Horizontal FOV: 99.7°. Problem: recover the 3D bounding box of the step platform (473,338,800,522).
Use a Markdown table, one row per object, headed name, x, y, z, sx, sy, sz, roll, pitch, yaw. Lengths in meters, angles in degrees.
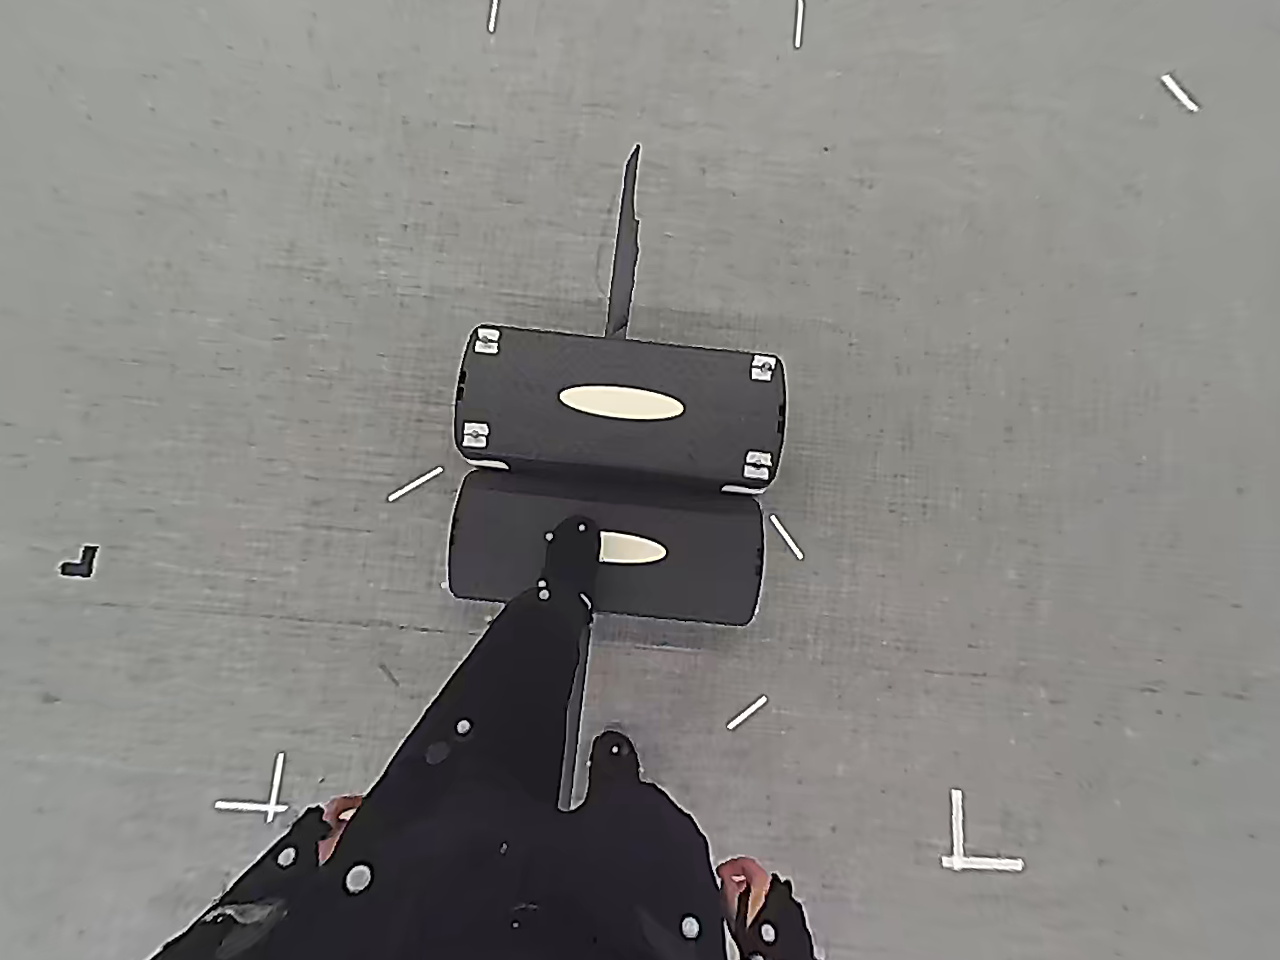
| name | x | y | z | sx | sy | sz | roll | pitch | yaw |
| --- | --- | --- | --- | --- | --- | --- | --- | --- | --- |
| step platform | -0.006 | -0.102 | 1.182 | 0.684 | 0.204 | 0.286 | 10 | 80 | 0 |
